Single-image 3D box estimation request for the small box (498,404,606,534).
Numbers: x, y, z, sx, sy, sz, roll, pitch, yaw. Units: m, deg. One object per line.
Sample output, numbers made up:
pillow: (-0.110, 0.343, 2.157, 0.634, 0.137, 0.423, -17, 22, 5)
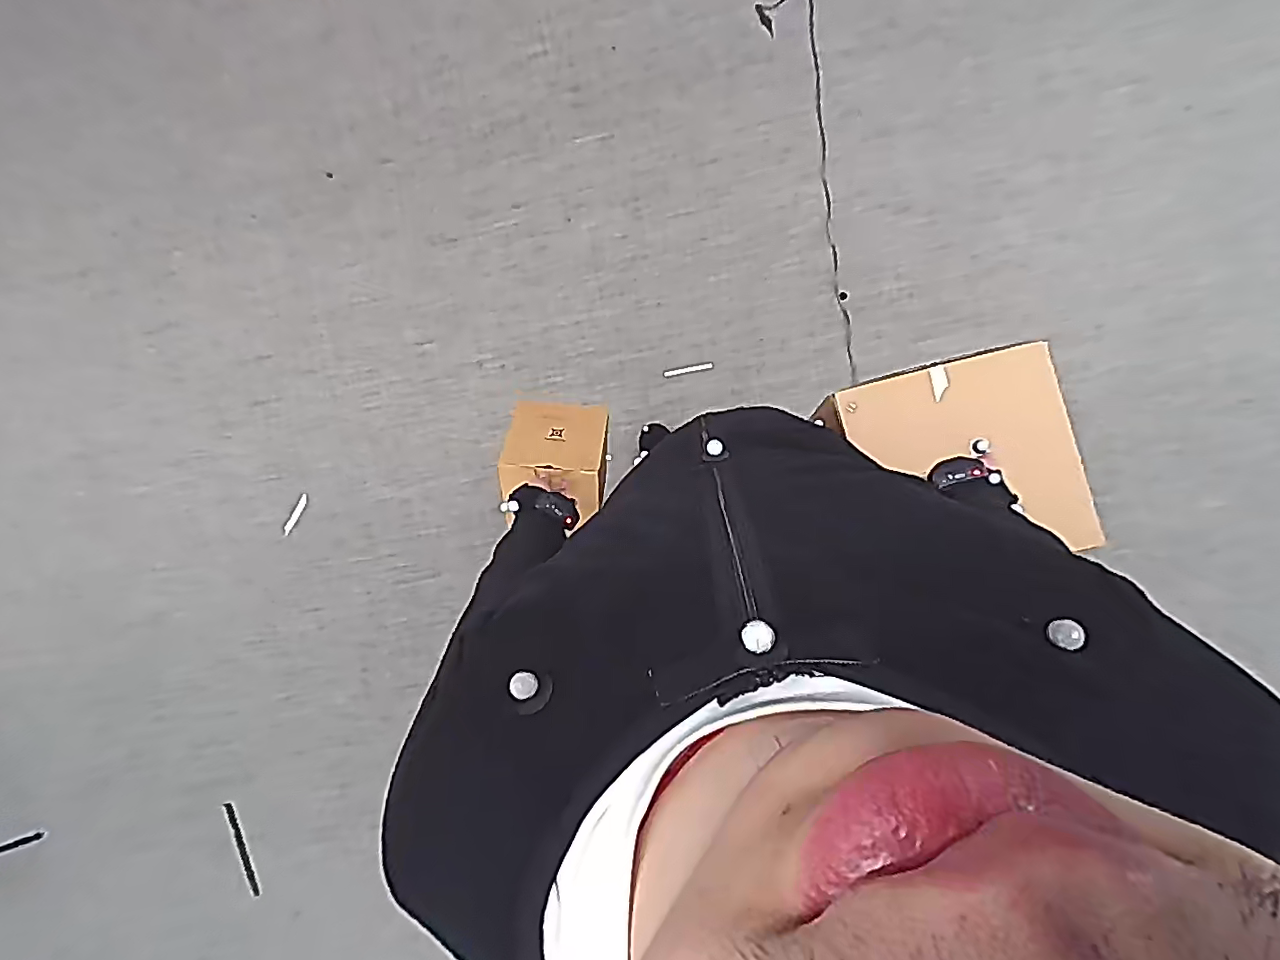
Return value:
small box: (-0.153, -0.018, 0.996, 0.168, 0.179, 0.176, 5, 132, -2)
